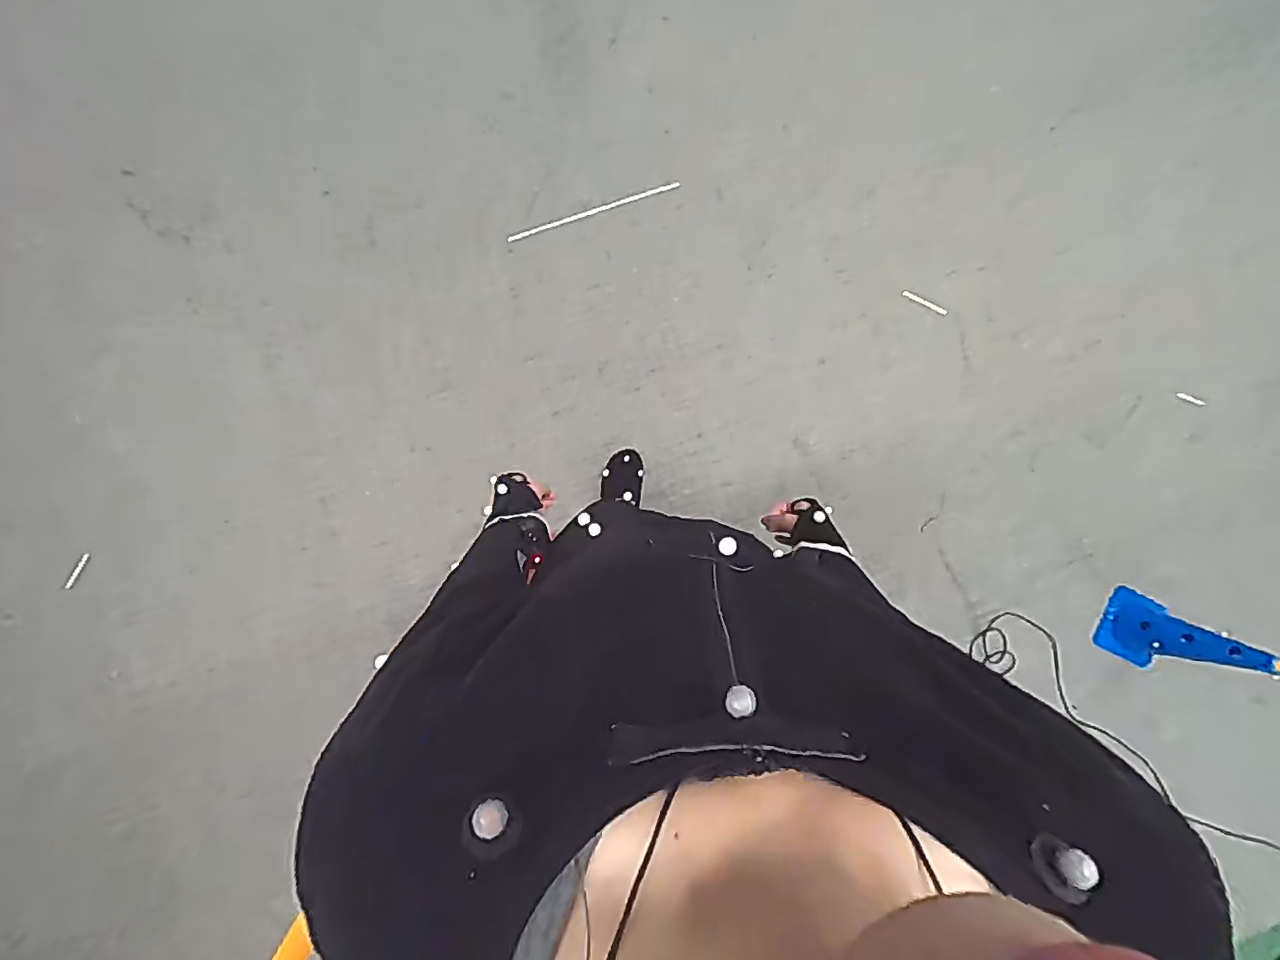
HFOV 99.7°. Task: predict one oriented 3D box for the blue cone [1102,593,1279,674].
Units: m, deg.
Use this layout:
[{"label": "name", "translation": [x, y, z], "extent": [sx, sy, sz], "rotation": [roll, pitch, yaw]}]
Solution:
[{"label": "blue cone", "translation": [1.493, 0.444, 1.446], "extent": [0.192, 0.380, 0.193], "rotation": [25, 87, -4]}]
